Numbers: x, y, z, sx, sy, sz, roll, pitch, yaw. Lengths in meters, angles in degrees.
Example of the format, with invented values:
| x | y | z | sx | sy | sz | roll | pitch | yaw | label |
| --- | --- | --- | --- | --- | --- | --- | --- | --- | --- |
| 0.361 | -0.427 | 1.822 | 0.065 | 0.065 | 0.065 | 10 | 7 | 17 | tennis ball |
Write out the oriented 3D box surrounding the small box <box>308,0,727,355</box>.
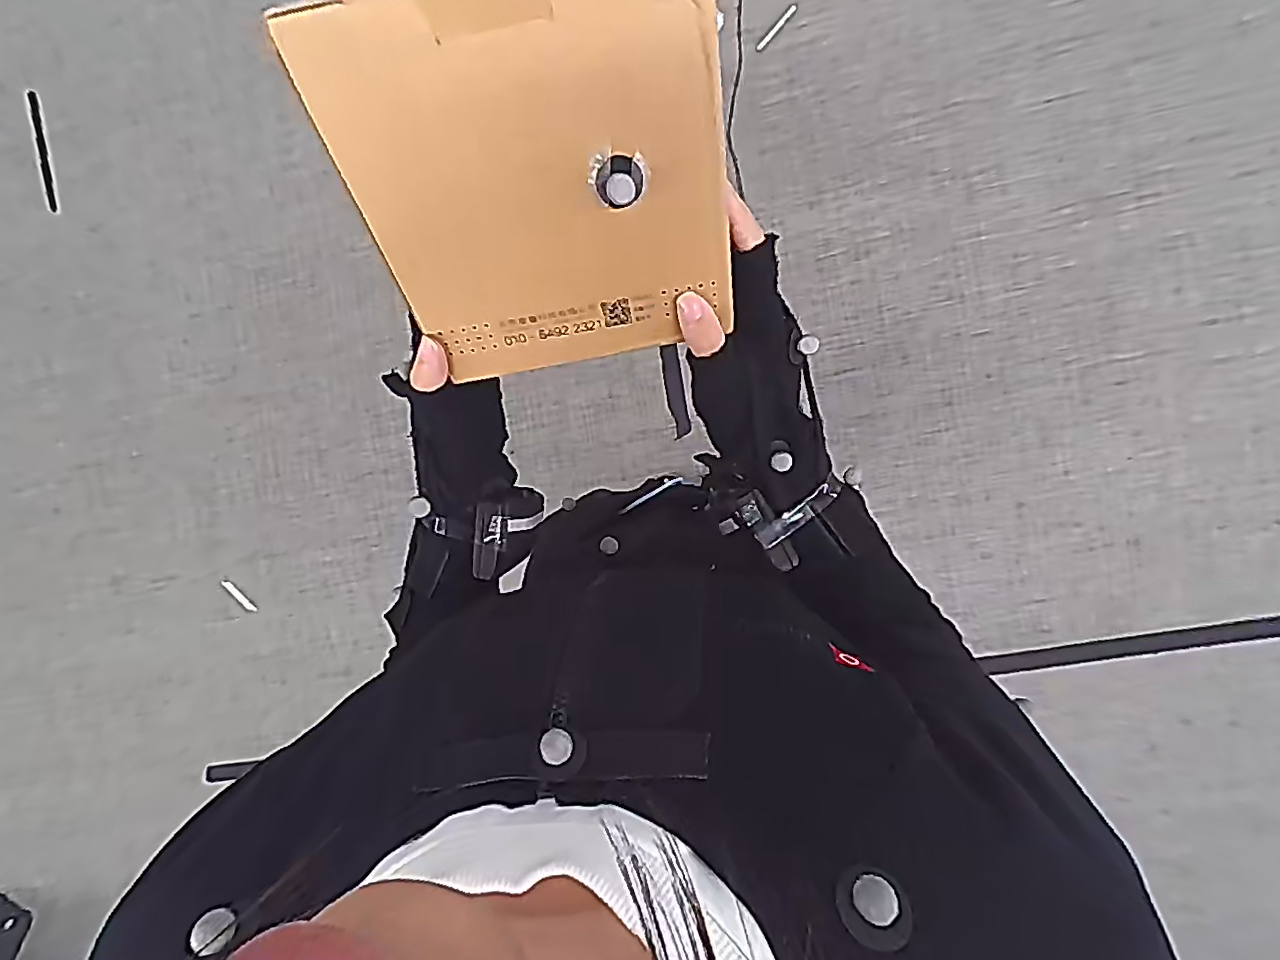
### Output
| x | y | z | sx | sy | sz | roll | pitch | yaw | label |
| --- | --- | --- | --- | --- | --- | --- | --- | --- | --- |
| -0.044 | -0.189 | 0.322 | 0.168 | 0.176 | 0.179 | -8 | 46 | 5 | small box |
